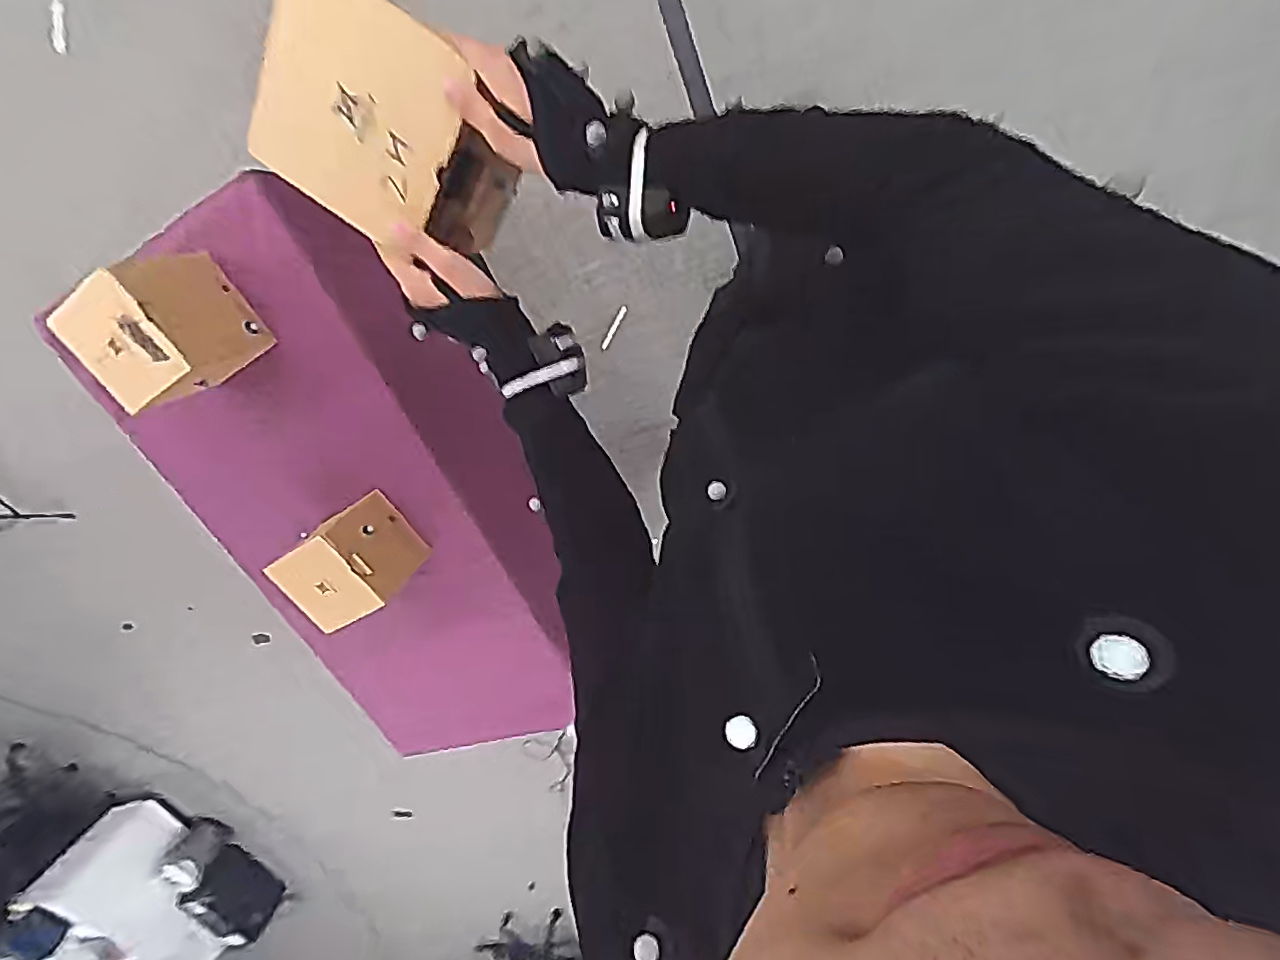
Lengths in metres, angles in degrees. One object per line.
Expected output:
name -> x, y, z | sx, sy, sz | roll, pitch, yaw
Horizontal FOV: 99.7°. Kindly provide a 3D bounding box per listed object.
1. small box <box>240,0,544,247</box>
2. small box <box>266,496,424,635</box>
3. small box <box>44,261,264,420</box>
small box -> -0.217, -0.346, 0.509 | 0.179, 0.176, 0.168 | 32, 117, -9
small box -> -0.542, 0.156, 1.027 | 0.179, 0.176, 0.168 | -27, 109, 22
small box -> -0.751, -0.227, 0.860 | 0.179, 0.176, 0.168 | -23, 112, 22
